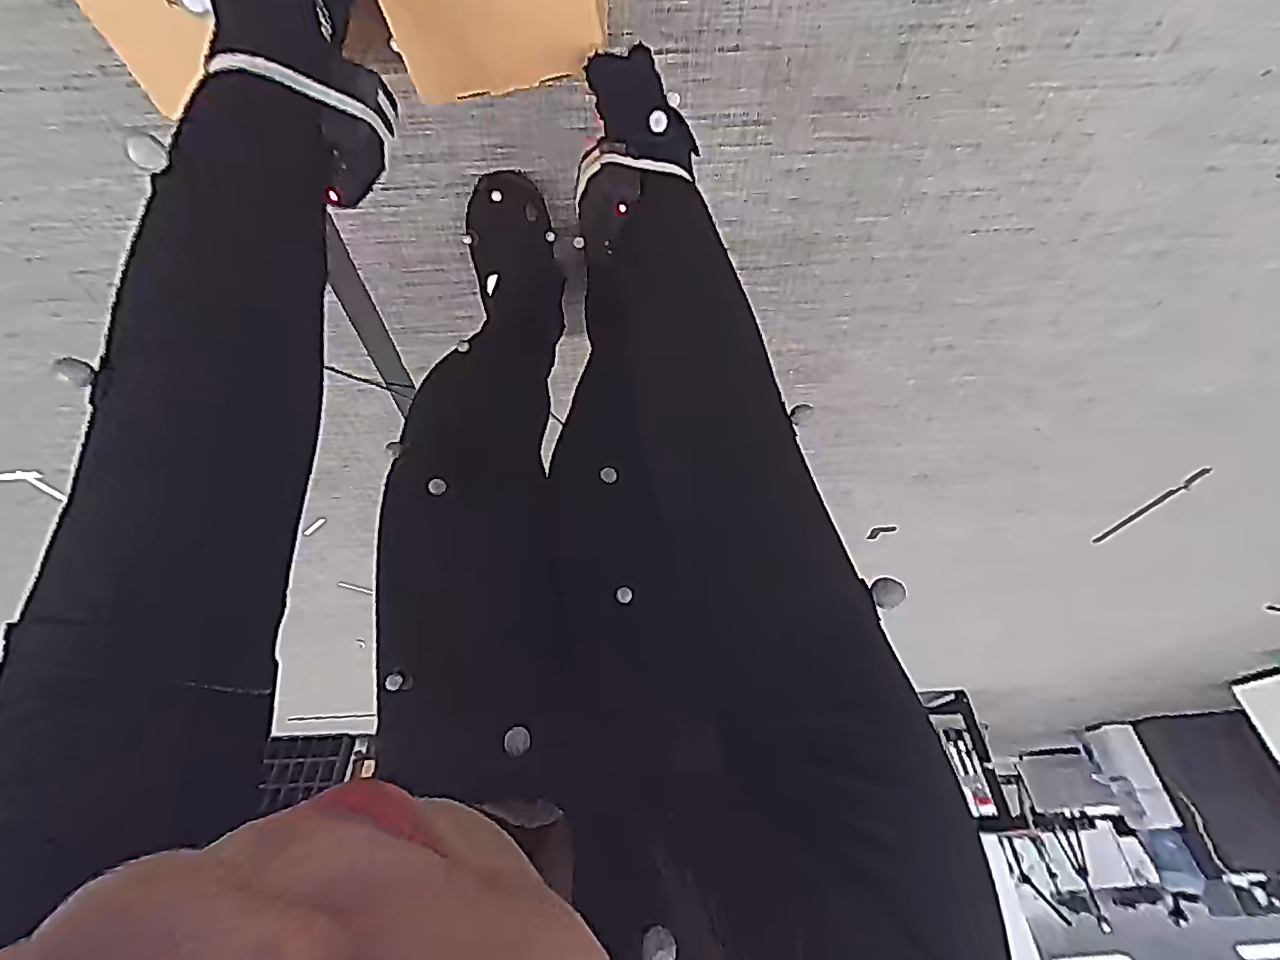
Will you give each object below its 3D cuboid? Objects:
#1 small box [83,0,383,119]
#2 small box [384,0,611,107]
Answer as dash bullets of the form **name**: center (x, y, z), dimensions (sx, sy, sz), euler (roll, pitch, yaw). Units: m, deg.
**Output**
- **small box**: center (-0.338, -0.435, 0.441), dimensions (0.168, 0.176, 0.179), euler (-5, 145, 3)
- **small box**: center (-0.122, -0.450, 0.440), dimensions (0.168, 0.176, 0.179), euler (-7, 147, 6)
